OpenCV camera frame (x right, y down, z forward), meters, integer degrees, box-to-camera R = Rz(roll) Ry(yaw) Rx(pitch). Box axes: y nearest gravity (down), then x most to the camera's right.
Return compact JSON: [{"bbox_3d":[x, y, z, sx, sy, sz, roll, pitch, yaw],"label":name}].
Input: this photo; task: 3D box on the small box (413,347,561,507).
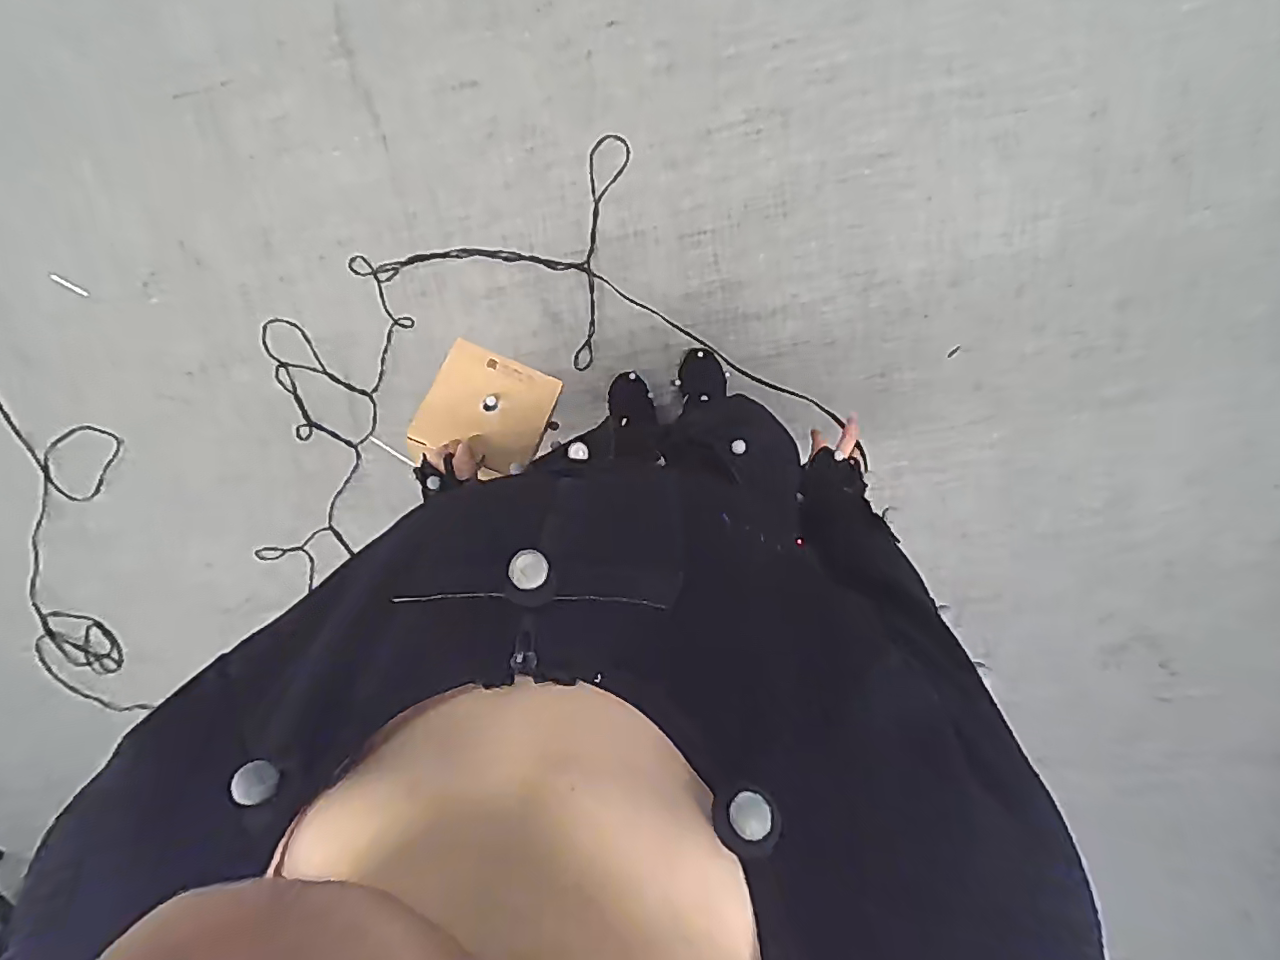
[{"bbox_3d":[-0.231,-0.077,0.840,0.168,0.179,0.176,21,71,-9],"label":"small box"}]
